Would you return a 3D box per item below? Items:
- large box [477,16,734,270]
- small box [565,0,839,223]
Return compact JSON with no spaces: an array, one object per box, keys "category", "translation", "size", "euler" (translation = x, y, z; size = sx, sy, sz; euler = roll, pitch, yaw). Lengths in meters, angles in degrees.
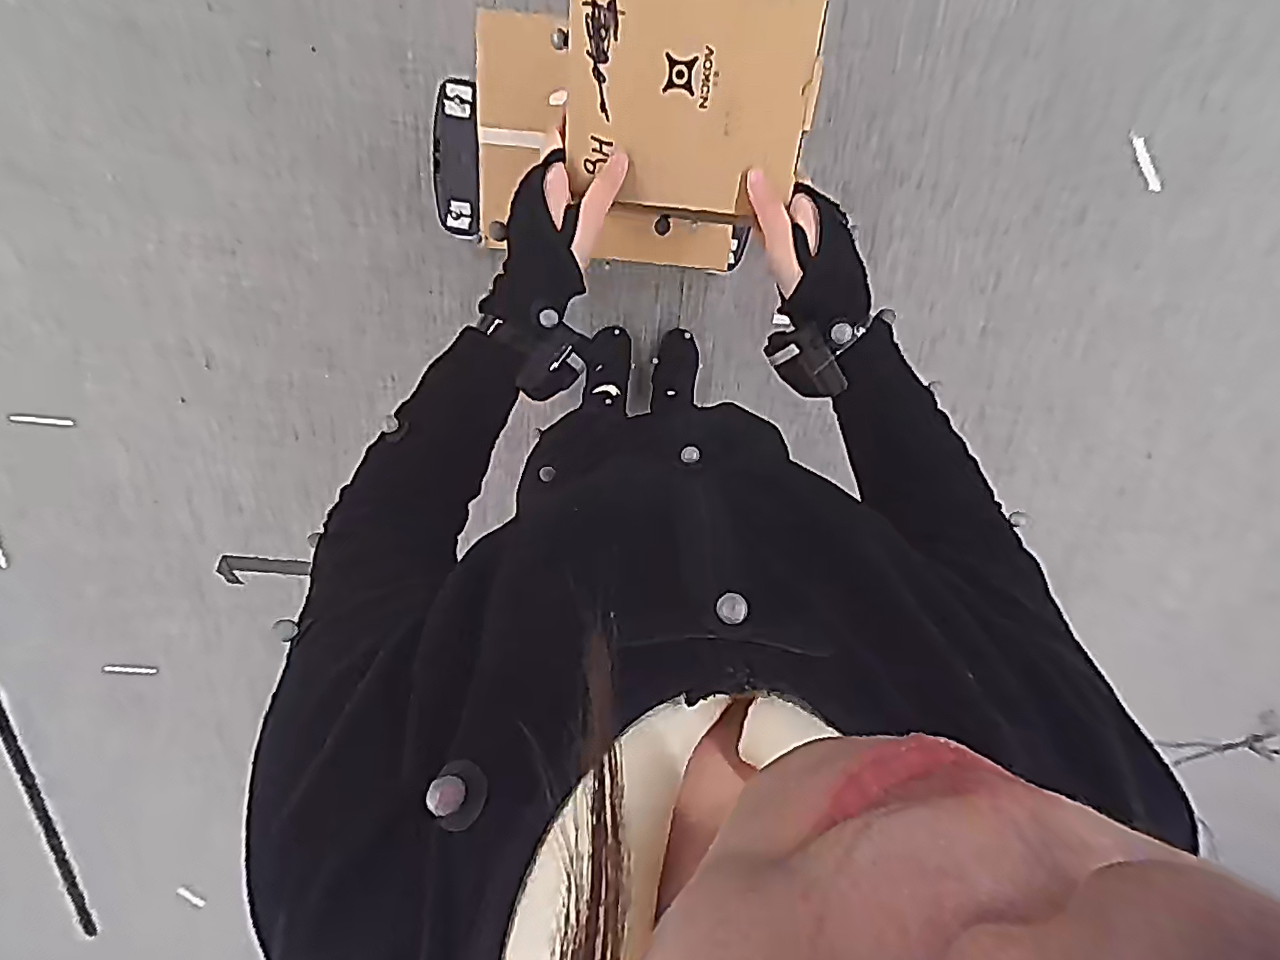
[{"category":"large box","translation":[-0.044,-0.553,0.959],"size":[0.408,0.320,0.320],"euler":[4,110,-3]},{"category":"small box","translation":[0.035,-0.310,0.443],"size":[0.179,0.176,0.168],"euler":[4,113,-5]}]
